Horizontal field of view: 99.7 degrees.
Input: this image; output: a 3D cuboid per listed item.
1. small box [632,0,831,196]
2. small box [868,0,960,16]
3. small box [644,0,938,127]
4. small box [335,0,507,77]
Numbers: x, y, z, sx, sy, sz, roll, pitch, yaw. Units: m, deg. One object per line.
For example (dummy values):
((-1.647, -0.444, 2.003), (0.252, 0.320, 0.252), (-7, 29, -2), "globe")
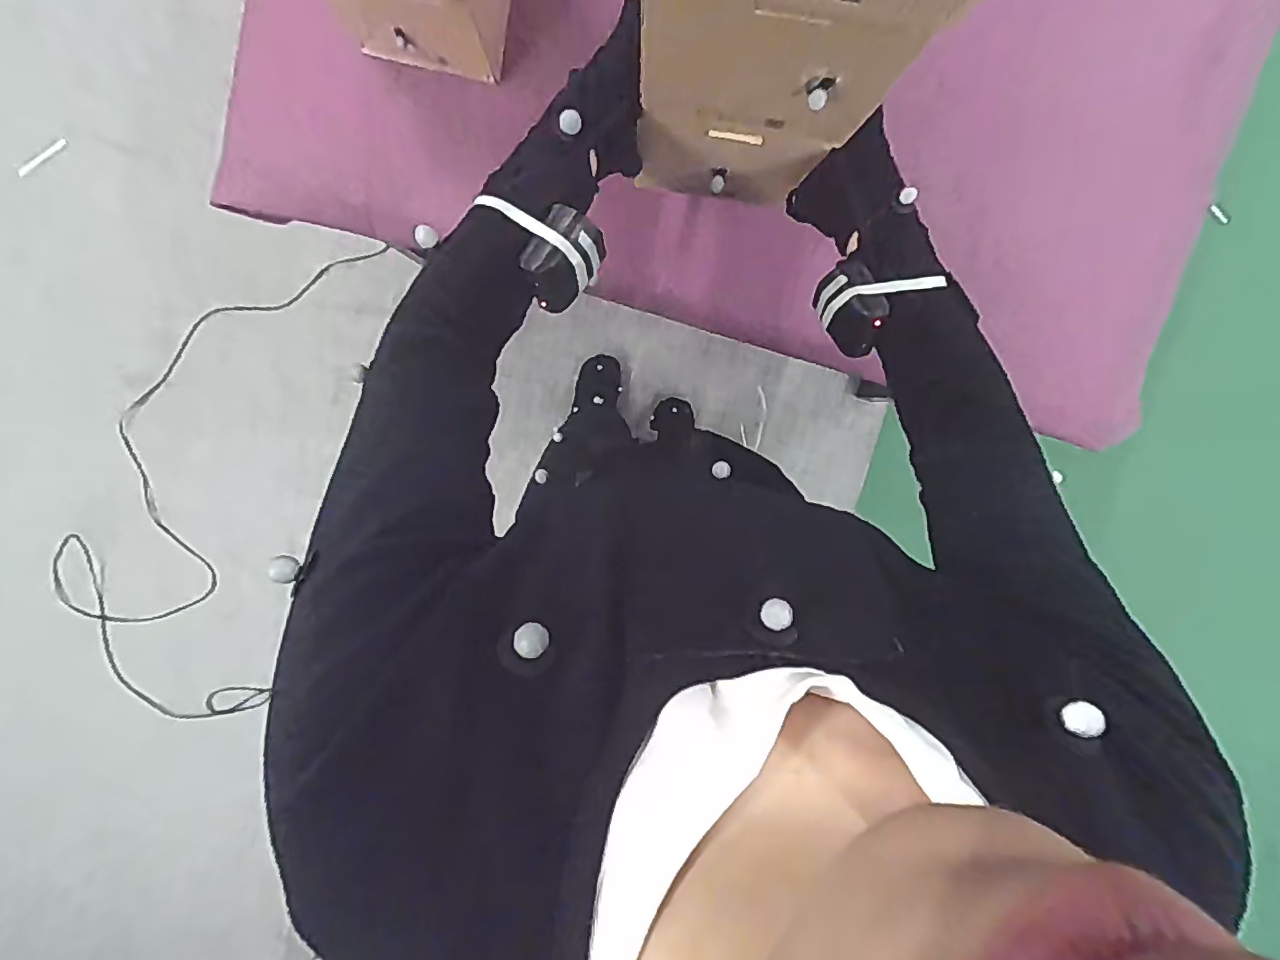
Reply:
((0.084, -0.383, 0.500), (0.168, 0.176, 0.179), (5, 101, -1), "small box")
((0.095, -0.309, 0.178), (0.168, 0.176, 0.179), (8, 101, -3), "small box")
((0.094, -0.345, 0.322), (0.168, 0.176, 0.179), (7, 101, -2), "small box")
((-0.233, -0.568, 0.555), (0.168, 0.176, 0.179), (10, 100, -4), "small box")
